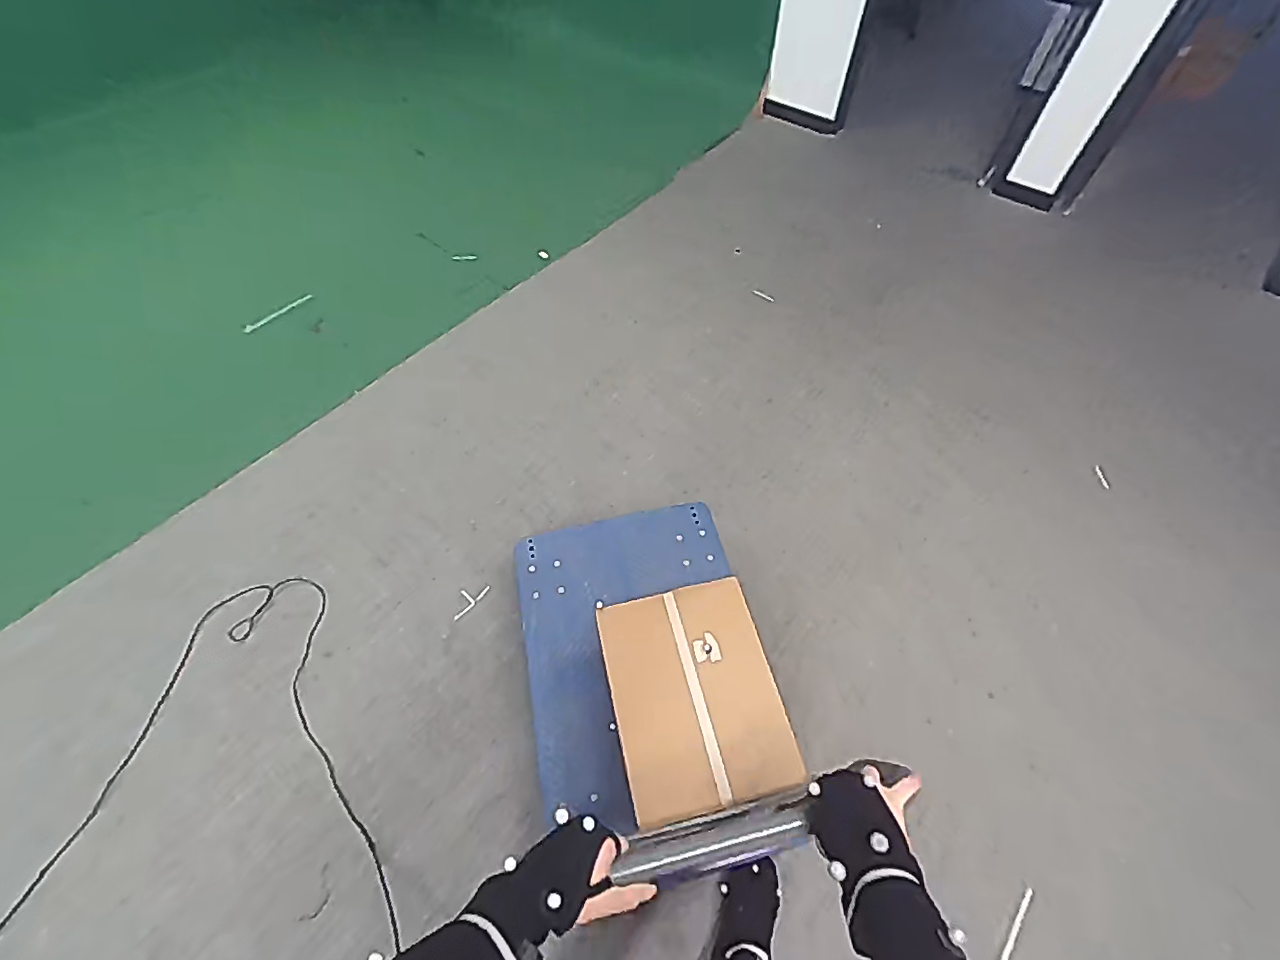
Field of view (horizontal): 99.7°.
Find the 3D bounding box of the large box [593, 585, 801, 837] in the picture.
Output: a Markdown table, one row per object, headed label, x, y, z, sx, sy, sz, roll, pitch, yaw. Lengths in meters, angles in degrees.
| label | x | y | z | sx | sy | sz | roll | pitch | yaw |
| --- | --- | --- | --- | --- | --- | --- | --- | --- | --- |
| large box | 0.100 | 0.504 | 1.180 | 0.320 | 0.320 | 0.408 | -11 | 56 | -8 |
